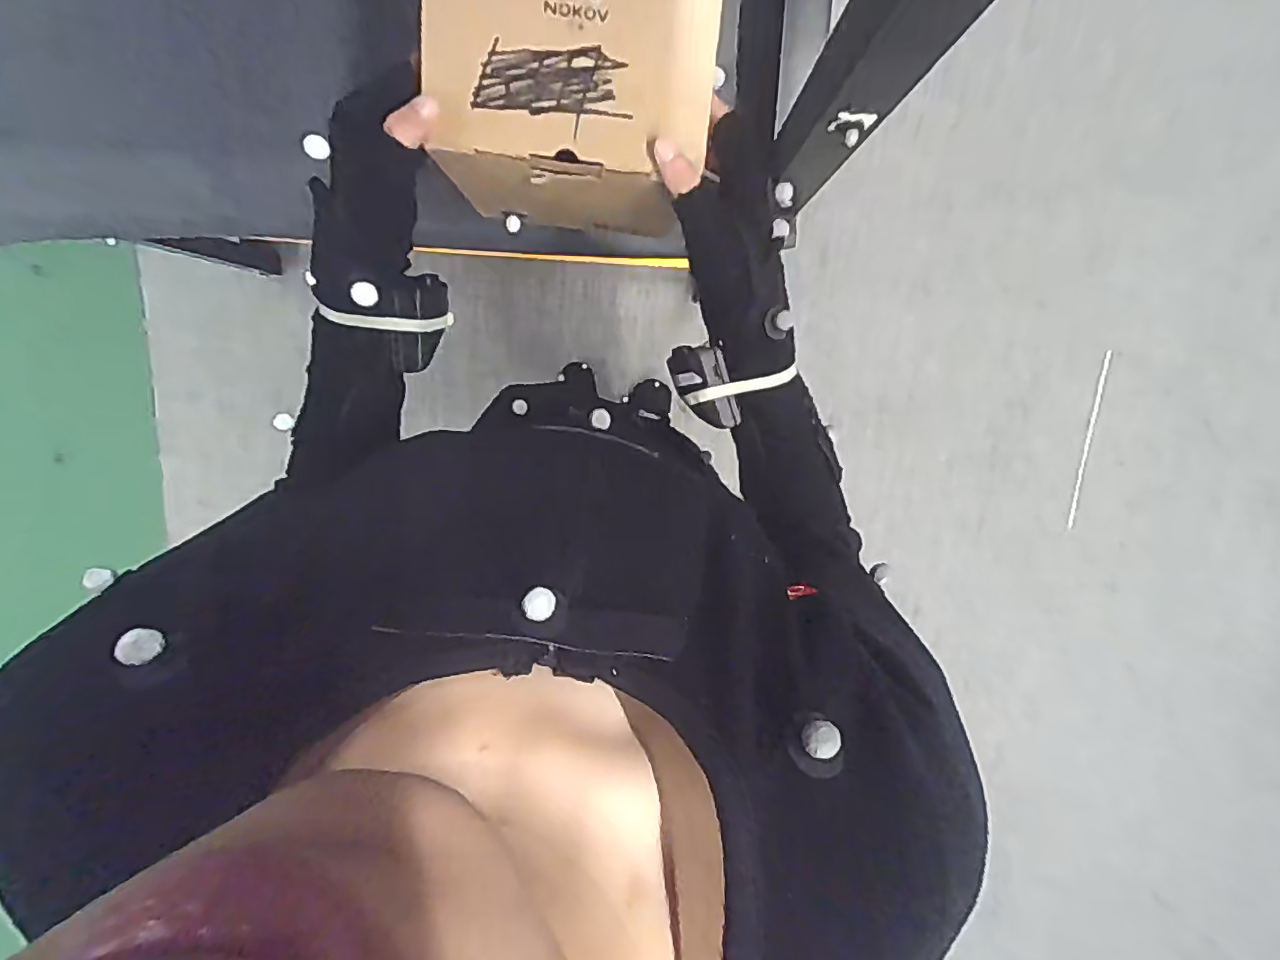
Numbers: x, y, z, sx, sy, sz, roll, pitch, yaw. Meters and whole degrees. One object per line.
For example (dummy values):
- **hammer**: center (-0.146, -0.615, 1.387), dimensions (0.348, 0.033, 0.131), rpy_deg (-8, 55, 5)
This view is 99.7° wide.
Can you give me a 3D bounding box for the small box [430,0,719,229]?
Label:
- **small box**: center (-0.041, -0.295, 0.388), dimensions (0.168, 0.176, 0.179), rpy_deg (5, 102, -6)
